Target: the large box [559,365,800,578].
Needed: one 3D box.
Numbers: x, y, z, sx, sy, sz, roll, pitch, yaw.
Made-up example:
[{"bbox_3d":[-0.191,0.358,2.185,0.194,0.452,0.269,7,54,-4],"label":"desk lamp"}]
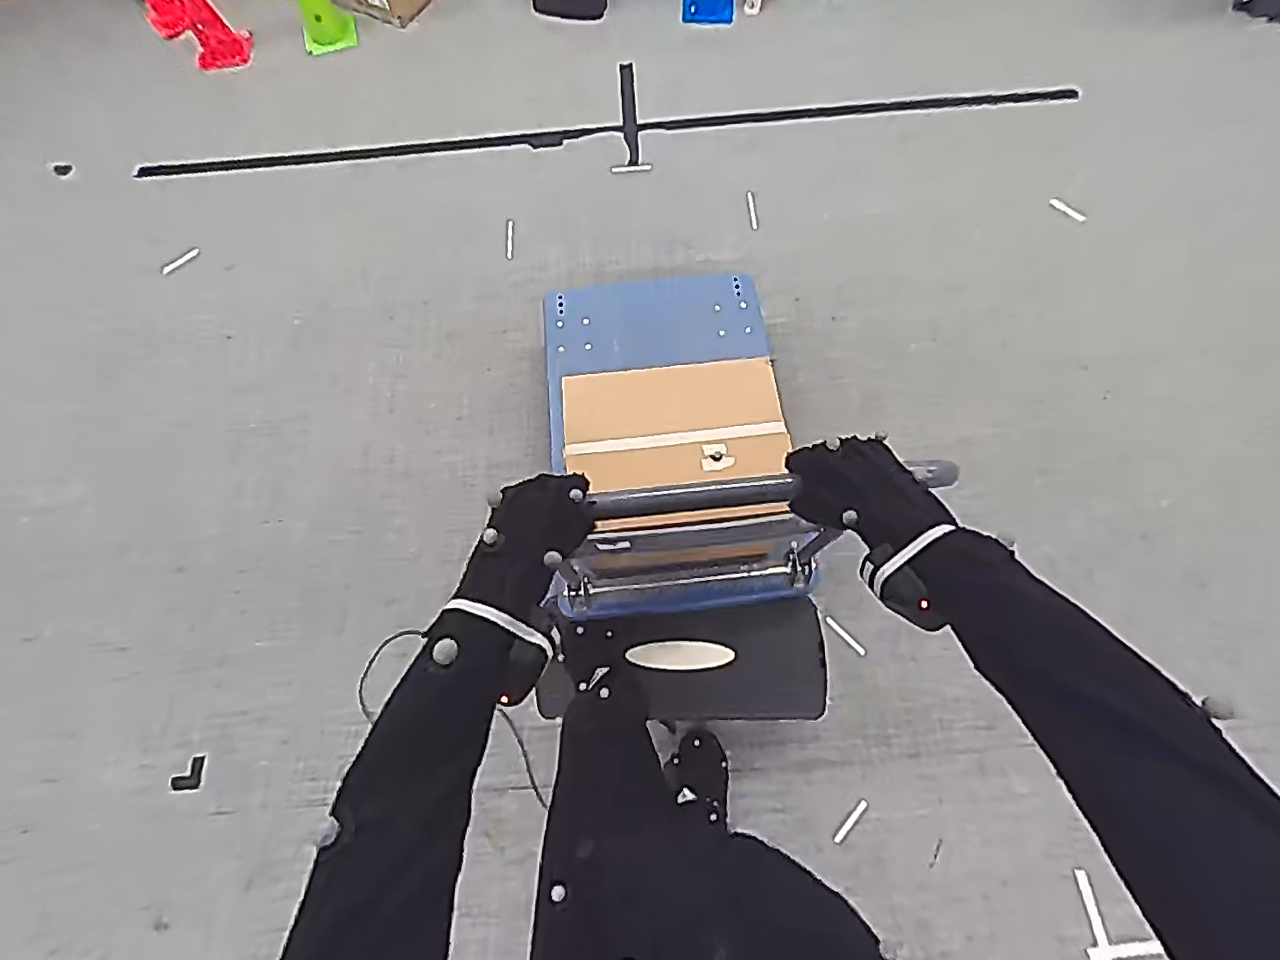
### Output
[{"bbox_3d":[0.061,-0.002,1.108,0.408,0.320,0.320,-6,69,-2],"label":"large box"}]
